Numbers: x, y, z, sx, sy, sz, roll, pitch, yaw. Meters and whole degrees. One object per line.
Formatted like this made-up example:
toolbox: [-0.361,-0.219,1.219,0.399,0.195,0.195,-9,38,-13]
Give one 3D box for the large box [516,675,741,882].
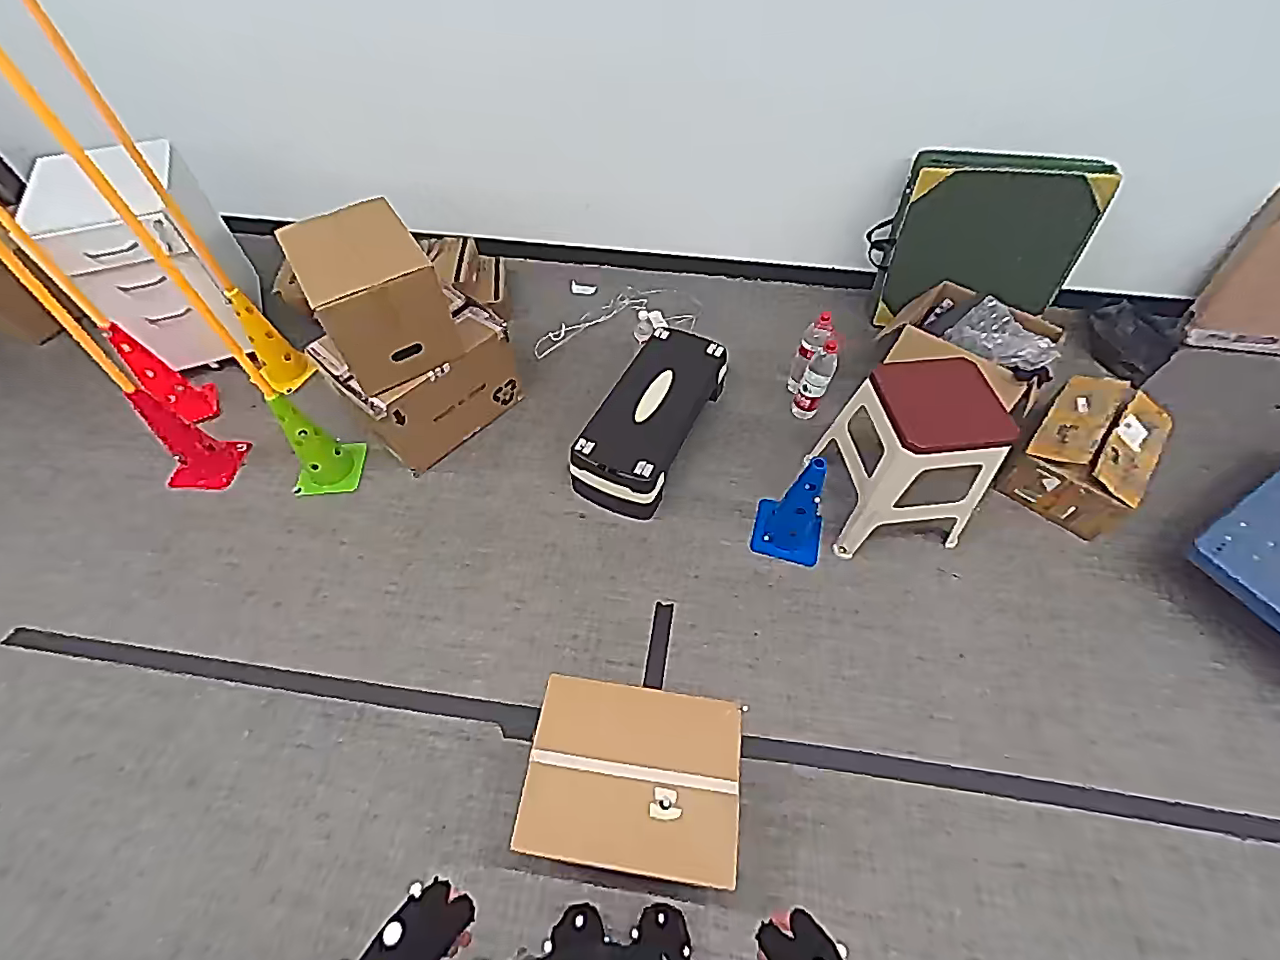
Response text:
large box: [-0.014,0.642,1.161,0.408,0.320,0.320,8,56,4]
